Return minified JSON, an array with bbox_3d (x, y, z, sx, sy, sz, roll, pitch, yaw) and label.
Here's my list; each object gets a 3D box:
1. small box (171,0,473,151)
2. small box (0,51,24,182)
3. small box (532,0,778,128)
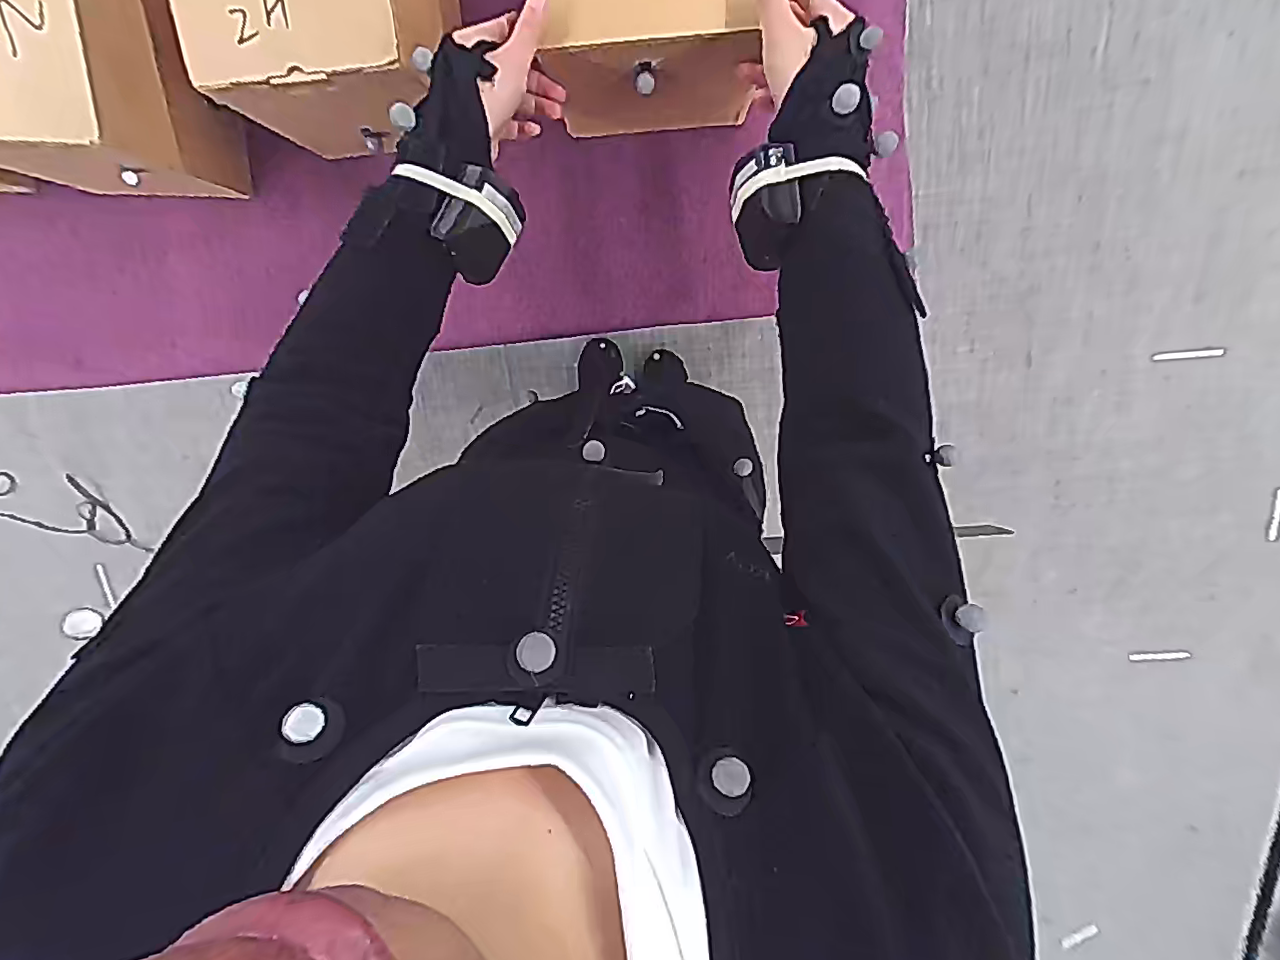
[{"bbox_3d":[-0.257,-0.409,0.458,0.168,0.176,0.179,-3,105,4],"label":"small box"},{"bbox_3d":[-0.734,-0.381,0.485,0.168,0.176,0.179,1,105,2],"label":"small box"},{"bbox_3d":[0.010,-0.416,0.444,0.179,0.176,0.168,-2,104,4],"label":"small box"}]
